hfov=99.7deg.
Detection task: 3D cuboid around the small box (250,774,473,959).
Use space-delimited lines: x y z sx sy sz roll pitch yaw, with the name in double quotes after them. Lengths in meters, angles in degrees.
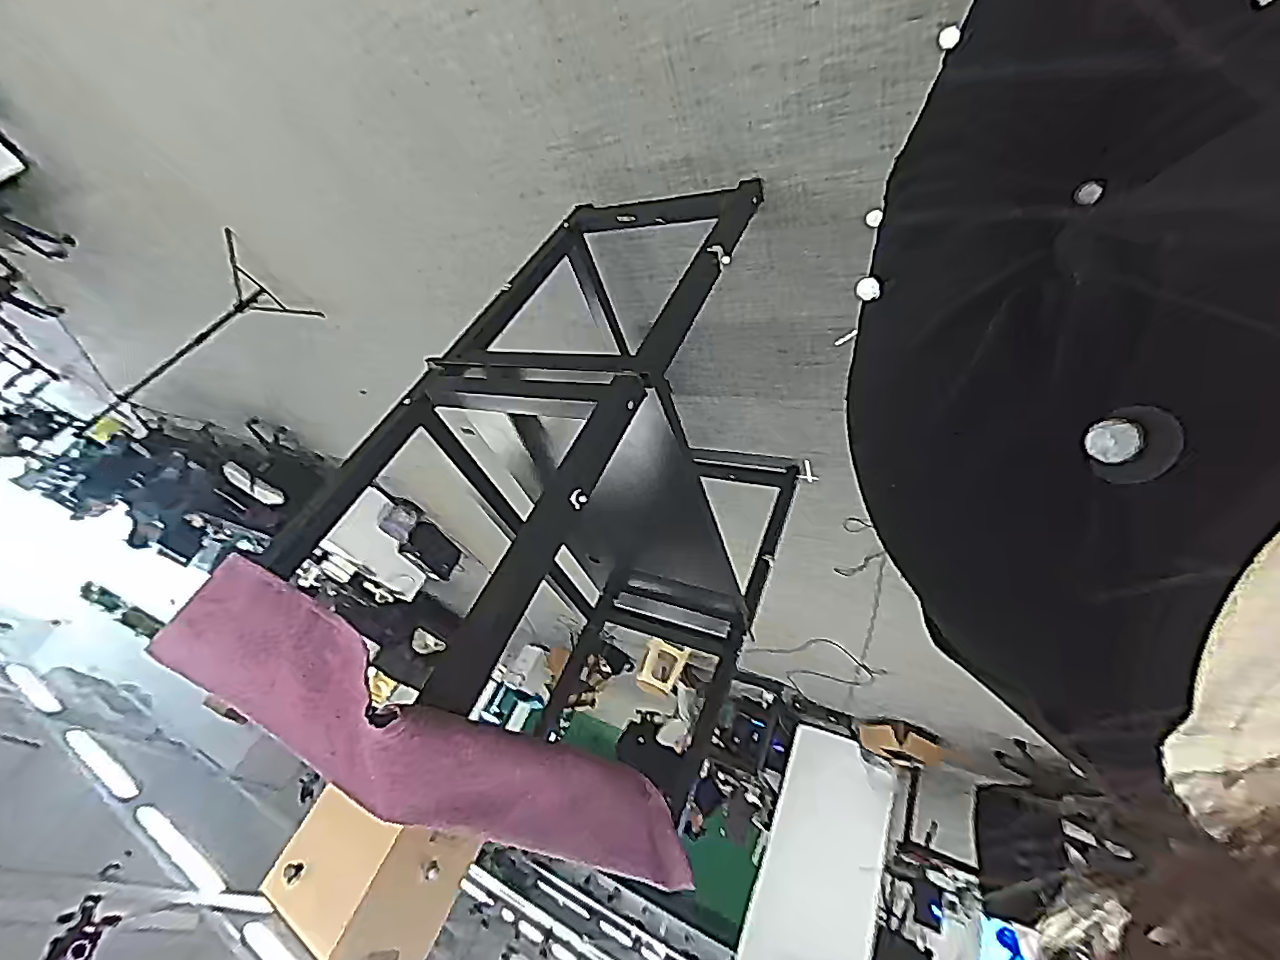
-0.367 0.527 0.738 0.179 0.176 0.168 5 145 34 "small box"
